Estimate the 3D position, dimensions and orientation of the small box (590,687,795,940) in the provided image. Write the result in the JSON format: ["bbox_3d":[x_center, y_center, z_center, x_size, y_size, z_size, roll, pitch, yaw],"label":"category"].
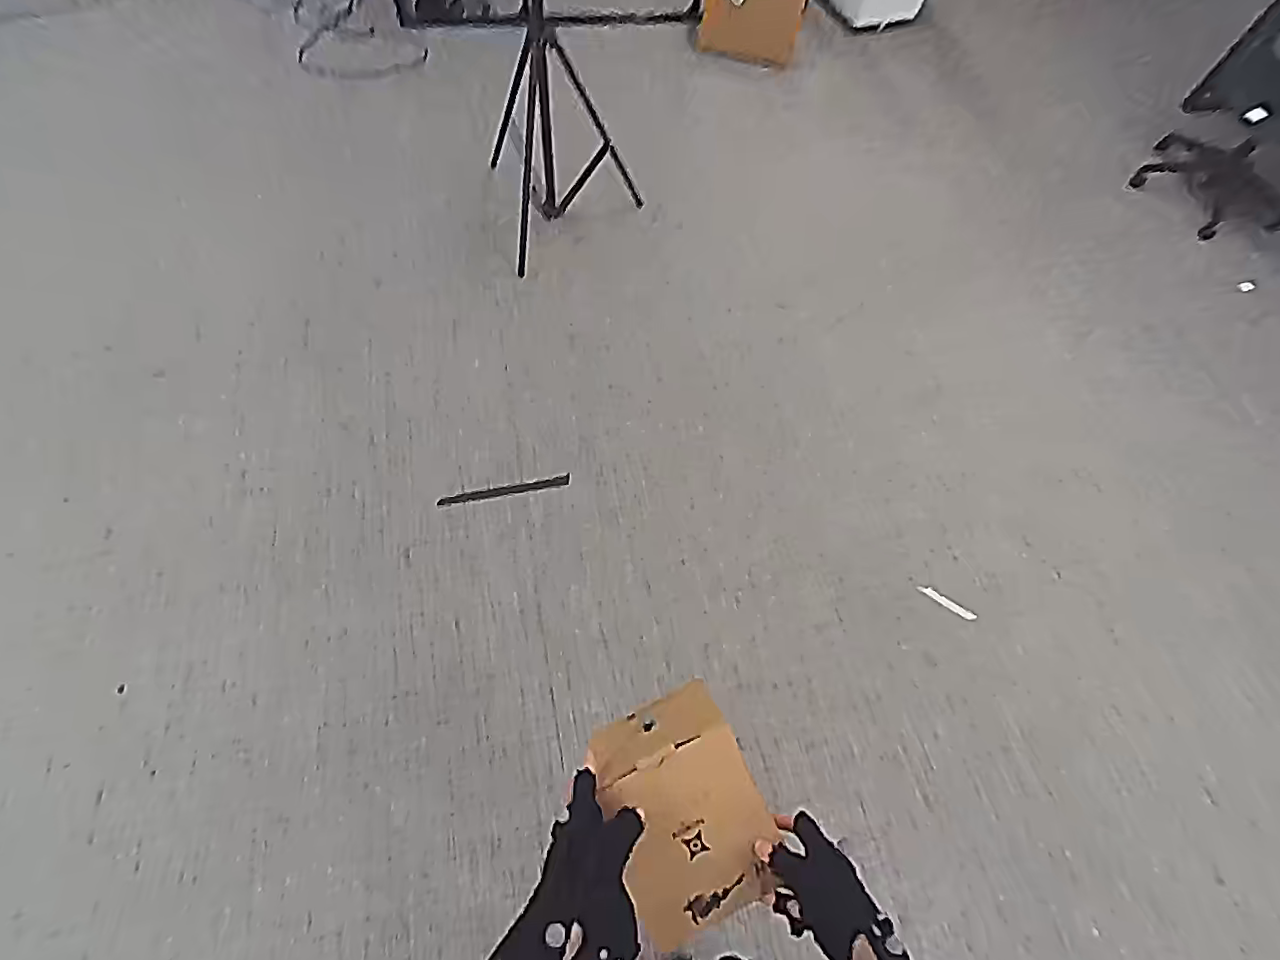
[{"bbox_3d":[0.049,0.366,0.640,0.168,0.176,0.179,-24,85,-5],"label":"small box"}]
